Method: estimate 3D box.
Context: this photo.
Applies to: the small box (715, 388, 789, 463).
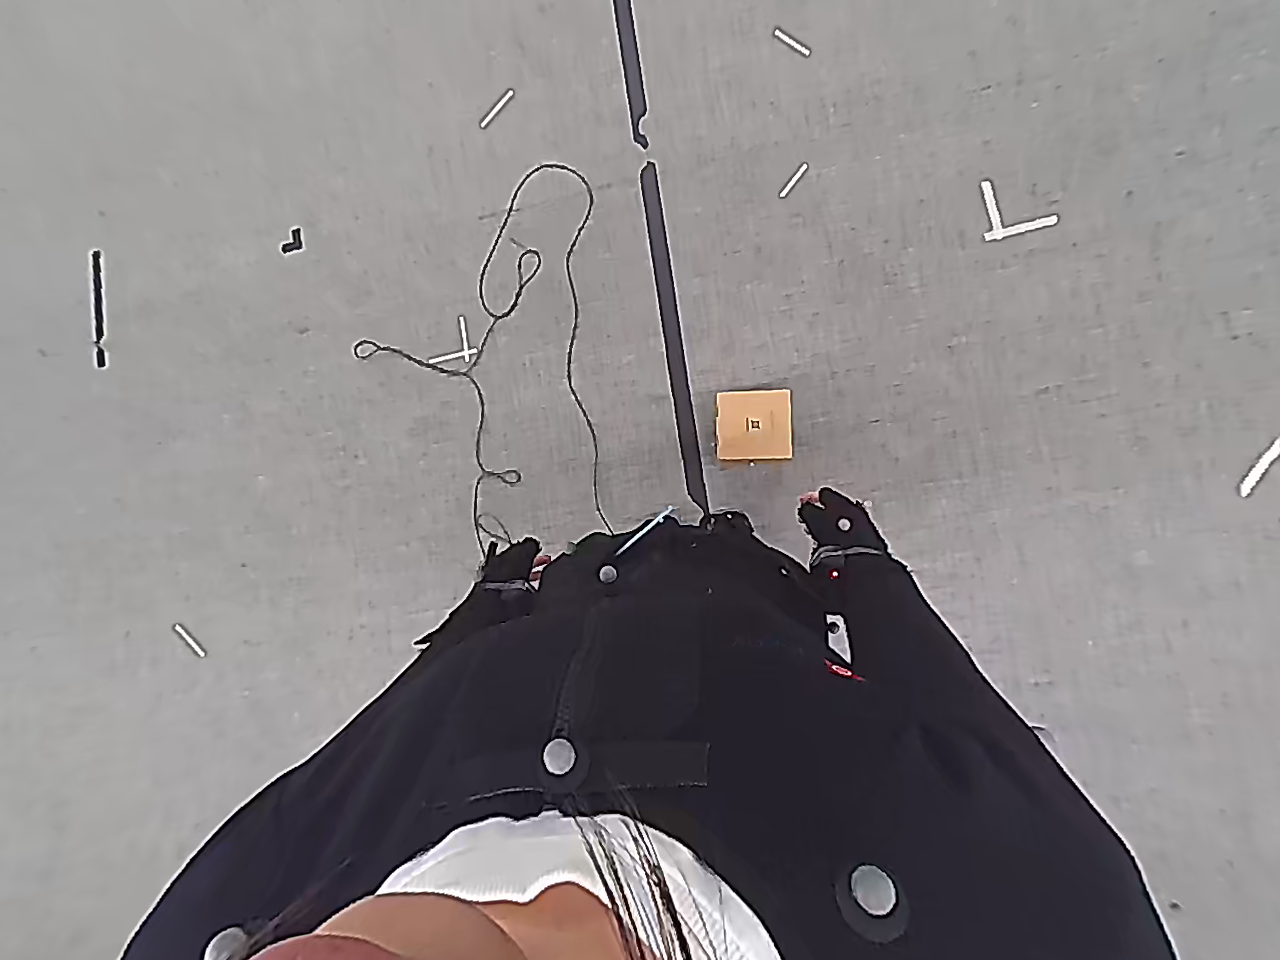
[{"bbox_3d":[0.283,-0.134,1.383,0.179,0.176,0.168,-1,86,8],"label":"small box"}]
